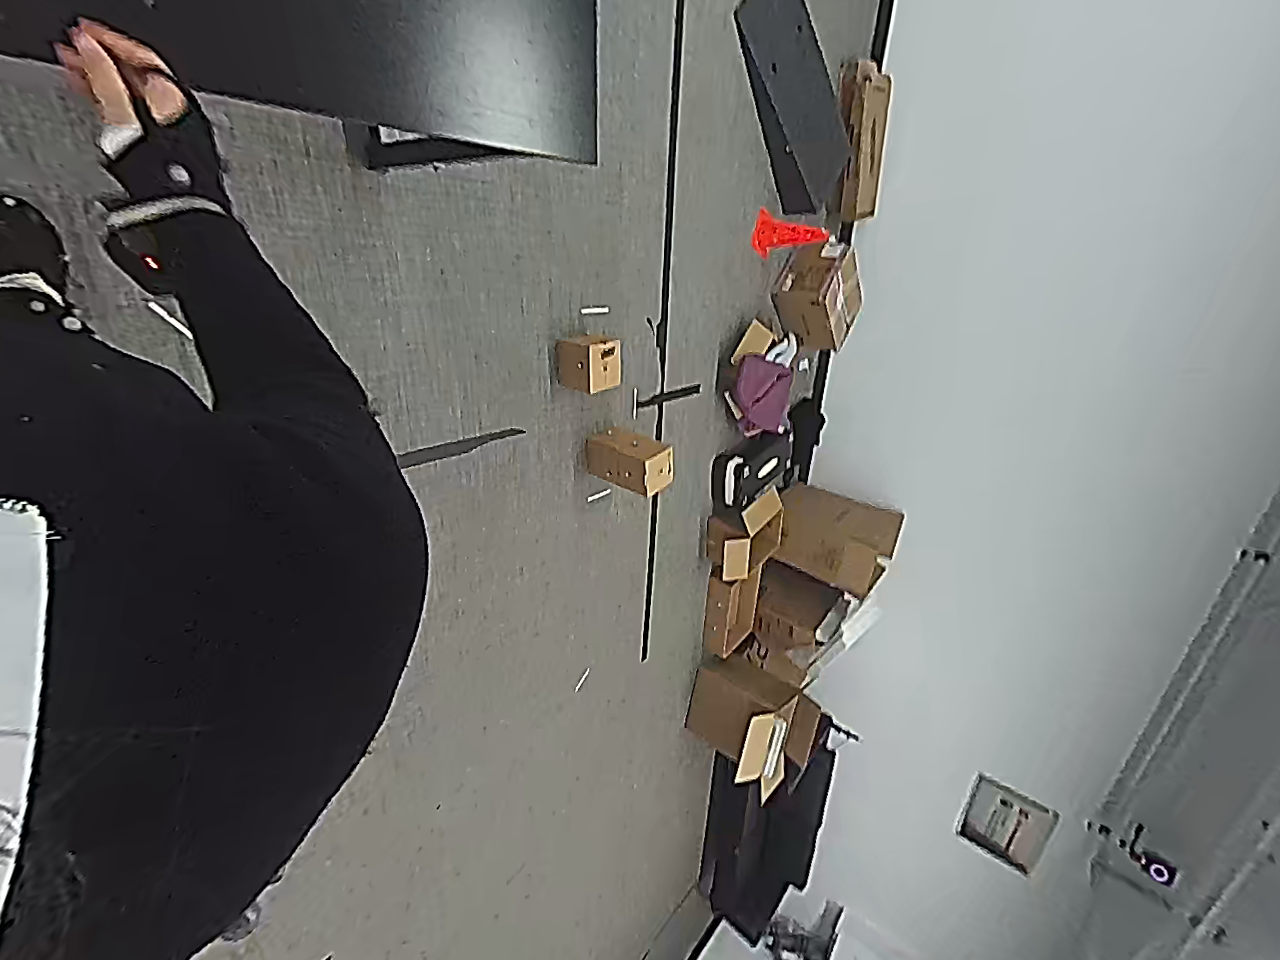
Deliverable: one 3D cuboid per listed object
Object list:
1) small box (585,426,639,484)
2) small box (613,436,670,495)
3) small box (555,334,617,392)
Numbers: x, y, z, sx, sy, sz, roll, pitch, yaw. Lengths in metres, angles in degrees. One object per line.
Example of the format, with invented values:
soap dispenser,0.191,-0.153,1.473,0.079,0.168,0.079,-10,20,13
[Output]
small box,-0.119,-0.110,2.294,0.168,0.176,0.179,-31,130,-43
small box,0.002,-0.063,2.194,0.179,0.176,0.168,-31,130,-41
small box,-0.202,-0.442,2.013,0.168,0.176,0.179,-27,128,-44
